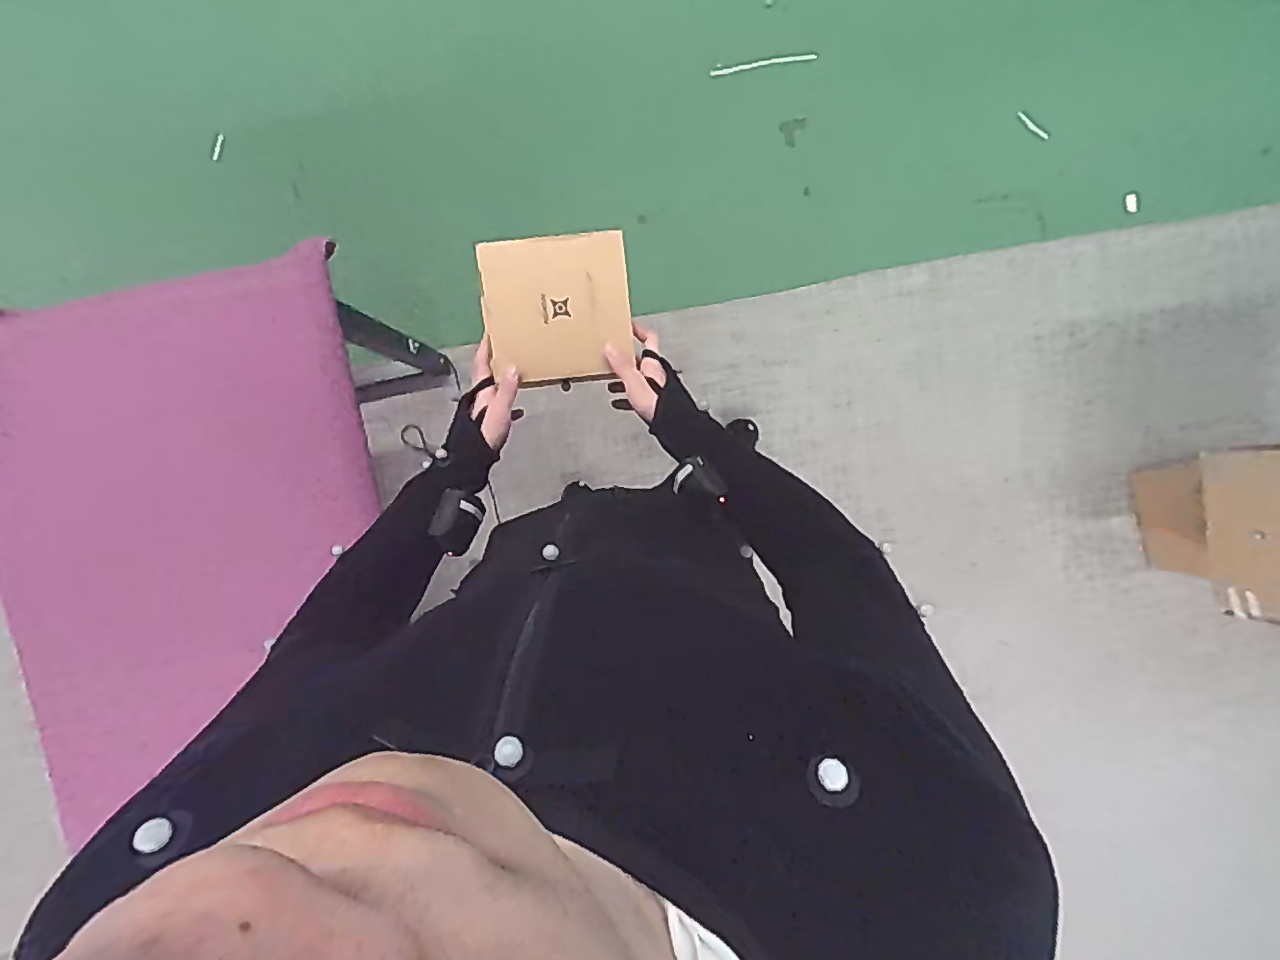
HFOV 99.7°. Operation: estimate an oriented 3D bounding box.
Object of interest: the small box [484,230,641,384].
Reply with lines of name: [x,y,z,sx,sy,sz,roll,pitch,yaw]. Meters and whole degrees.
small box: [-0.092,-0.217,0.719,0.179,0.176,0.168,-5,100,-2]
